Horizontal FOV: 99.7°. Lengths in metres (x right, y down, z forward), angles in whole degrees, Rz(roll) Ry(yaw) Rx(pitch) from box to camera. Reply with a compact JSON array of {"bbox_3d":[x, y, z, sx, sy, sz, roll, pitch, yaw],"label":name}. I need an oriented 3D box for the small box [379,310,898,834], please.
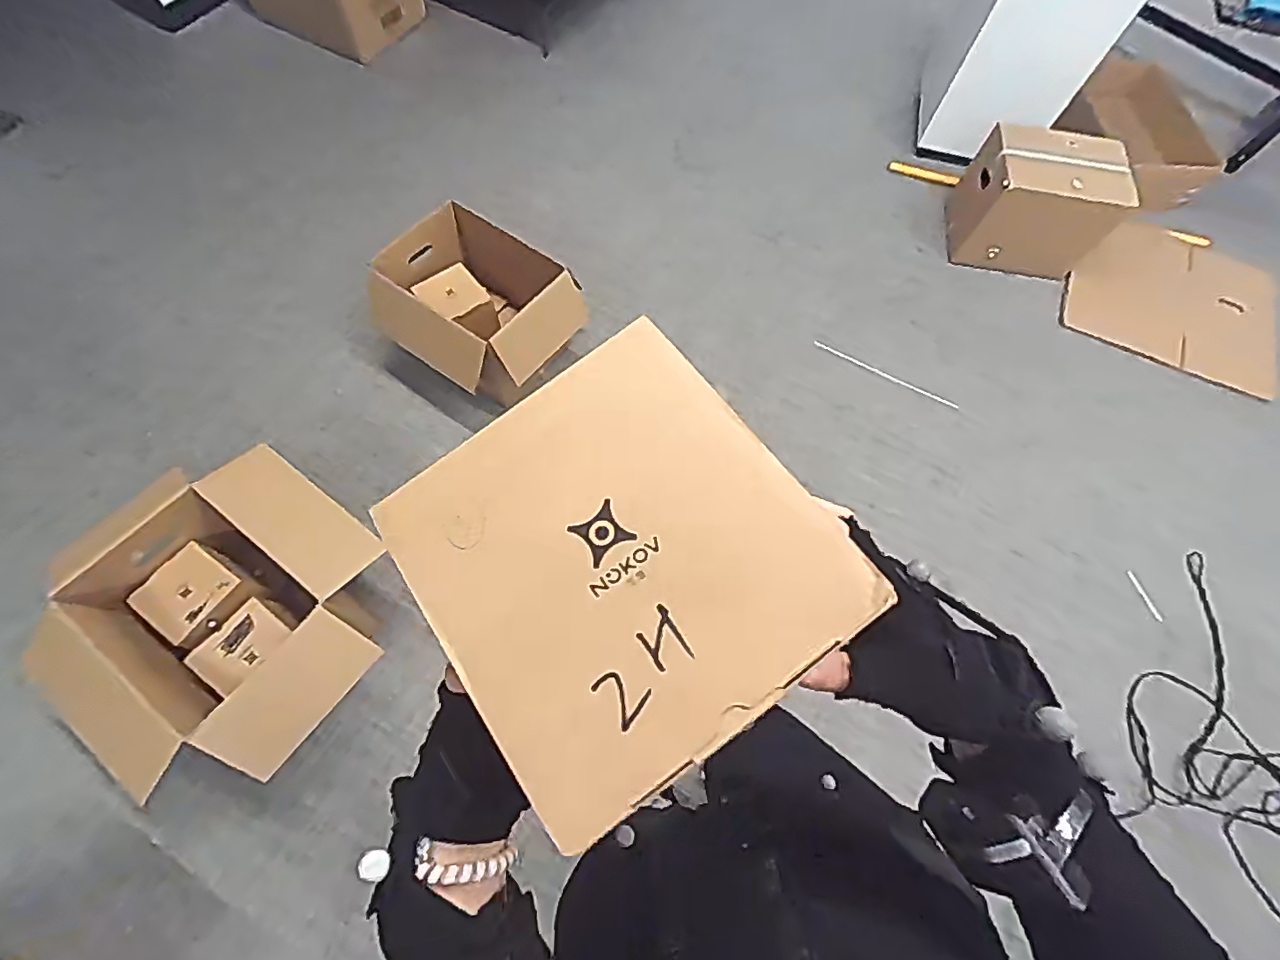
[{"bbox_3d":[-0.001,0.049,0.311,0.168,0.176,0.179,-37,73,-5],"label":"small box"}]
